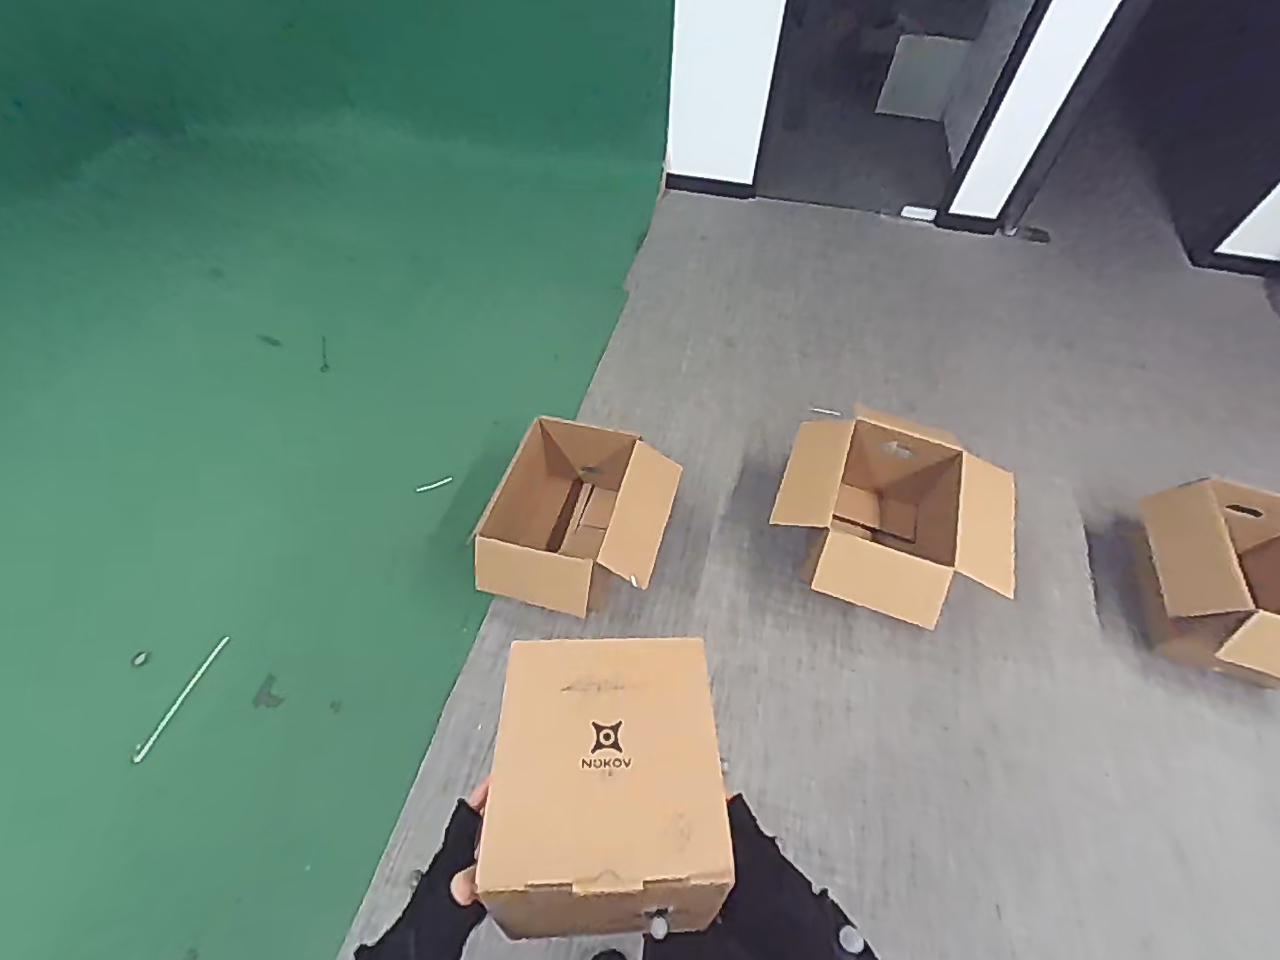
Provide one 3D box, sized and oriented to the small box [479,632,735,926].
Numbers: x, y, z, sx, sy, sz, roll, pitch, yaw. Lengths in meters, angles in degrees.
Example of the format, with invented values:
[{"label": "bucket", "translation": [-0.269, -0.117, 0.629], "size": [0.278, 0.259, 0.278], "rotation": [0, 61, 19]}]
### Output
[{"label": "small box", "translation": [-0.026, 0.250, 0.453], "size": [0.168, 0.176, 0.179], "rotation": [1, 41, -5]}]
